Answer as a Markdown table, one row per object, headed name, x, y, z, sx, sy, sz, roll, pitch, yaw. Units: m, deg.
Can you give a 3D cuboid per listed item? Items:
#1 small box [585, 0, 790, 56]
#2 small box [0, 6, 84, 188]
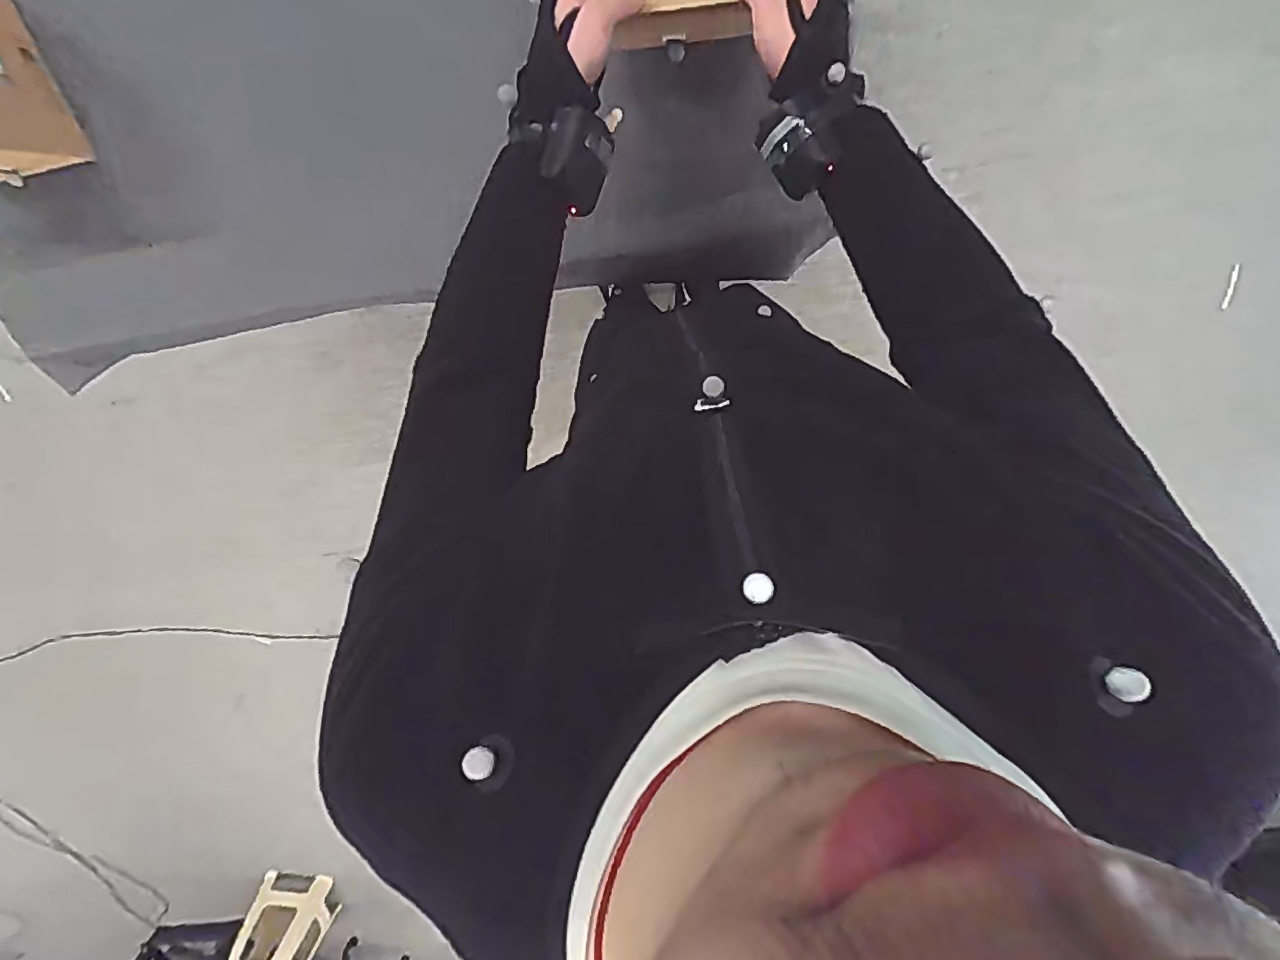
| name | x | y | z | sx | sy | sz | roll | pitch | yaw |
| --- | --- | --- | --- | --- | --- | --- | --- | --- | --- |
| small box | 0.038 | -0.486 | 0.457 | 0.168 | 0.176 | 0.179 | -1 | 121 | 5 |
| small box | -0.789 | -0.428 | 0.597 | 0.179 | 0.176 | 0.168 | -9 | 116 | 6 |
